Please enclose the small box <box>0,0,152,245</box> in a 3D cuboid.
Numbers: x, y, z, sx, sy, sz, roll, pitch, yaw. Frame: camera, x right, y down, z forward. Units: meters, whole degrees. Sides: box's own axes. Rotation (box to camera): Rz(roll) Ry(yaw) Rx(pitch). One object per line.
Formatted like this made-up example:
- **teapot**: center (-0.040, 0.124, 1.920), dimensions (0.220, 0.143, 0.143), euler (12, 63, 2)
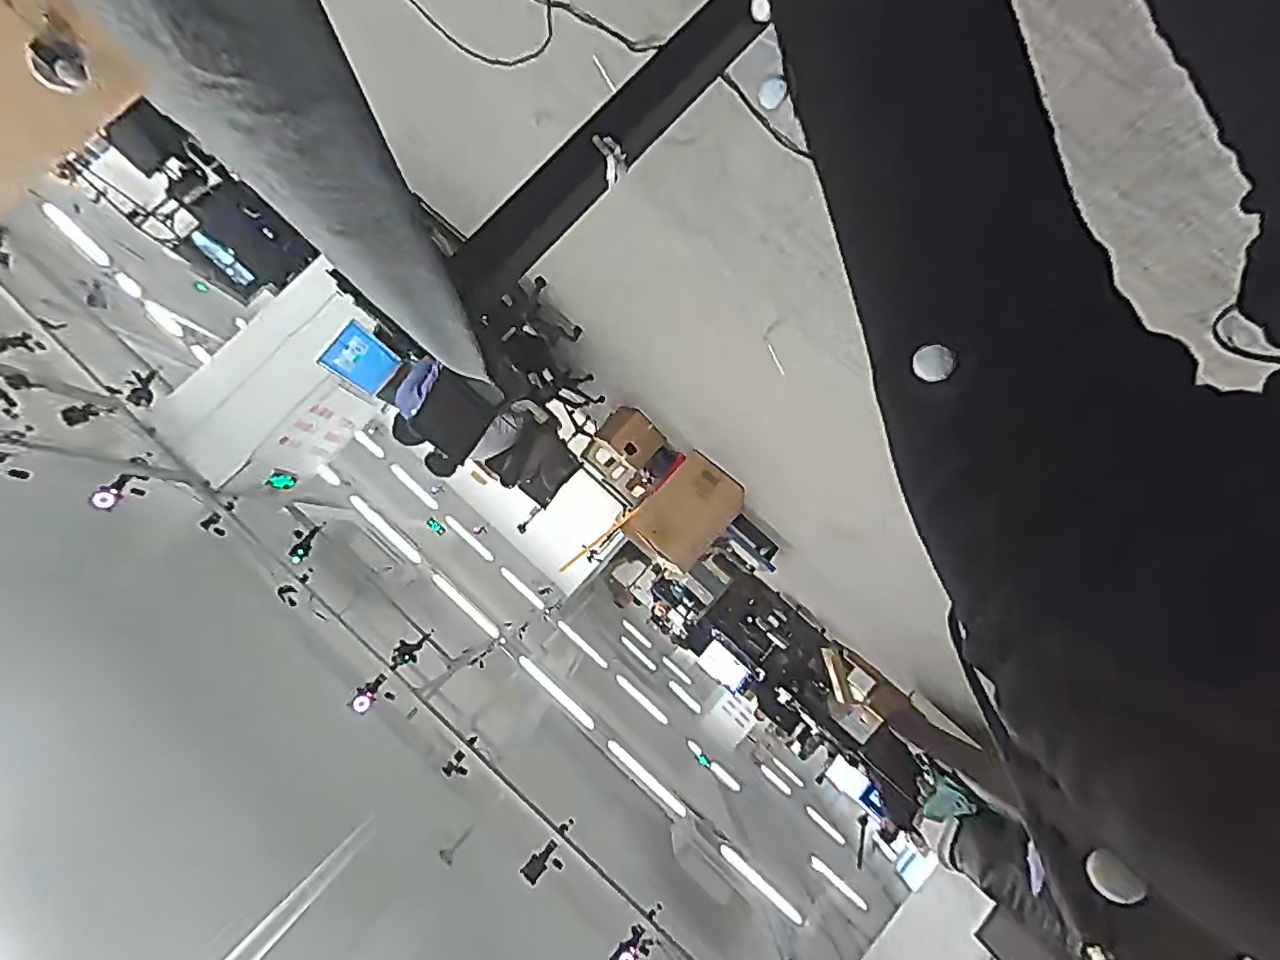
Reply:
- **small box**: center (-0.404, -0.253, 0.260), dimensions (0.179, 0.176, 0.168), euler (44, 173, 9)
